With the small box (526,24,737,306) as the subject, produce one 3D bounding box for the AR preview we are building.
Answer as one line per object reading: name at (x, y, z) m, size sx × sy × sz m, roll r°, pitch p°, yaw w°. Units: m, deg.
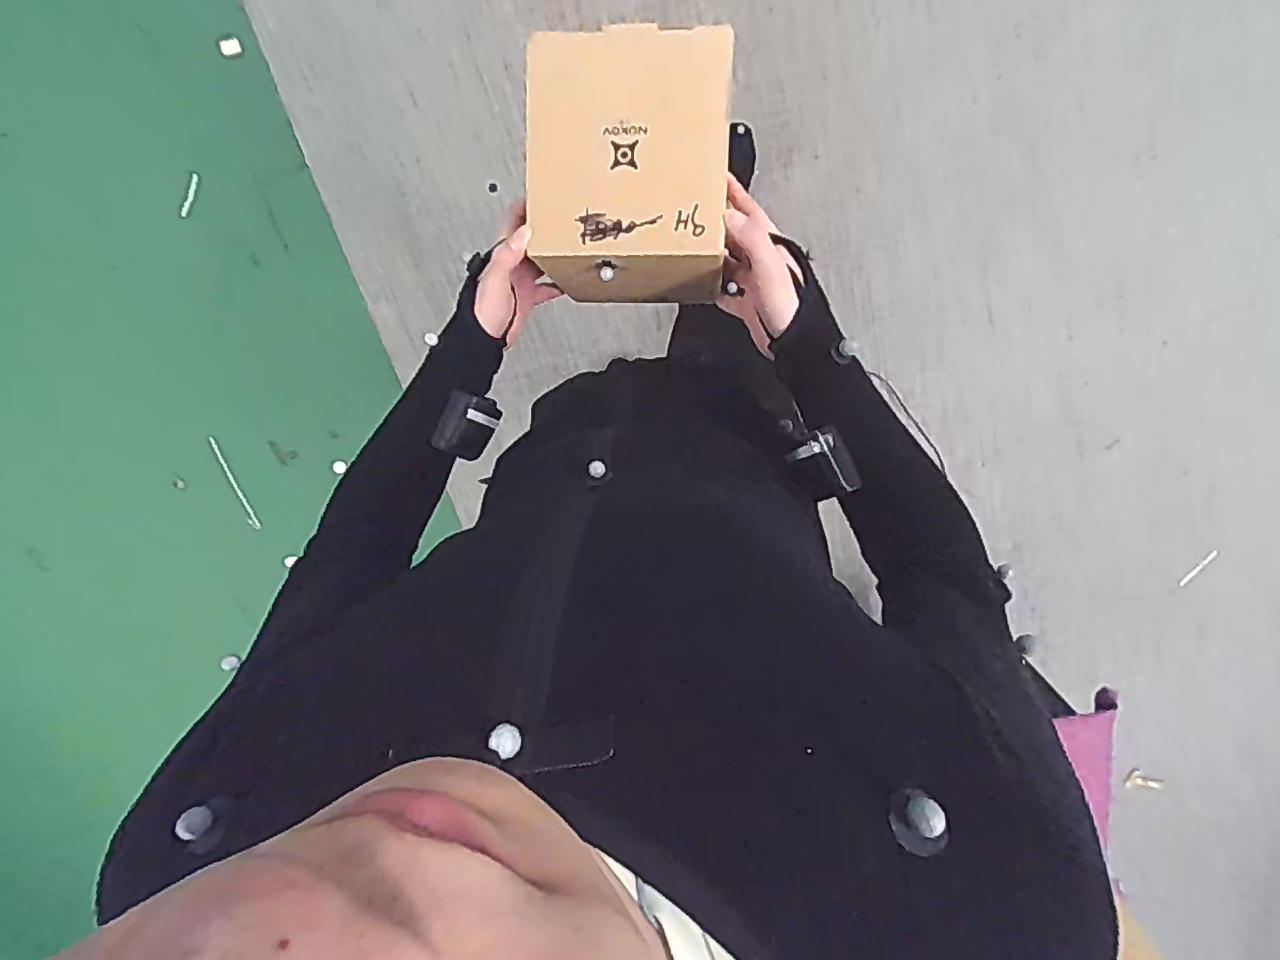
small box at (-0.001, -0.276, 0.512) m, size 0.168 × 0.176 × 0.179 m, roll 2°, pitch 94°, yaw 7°
